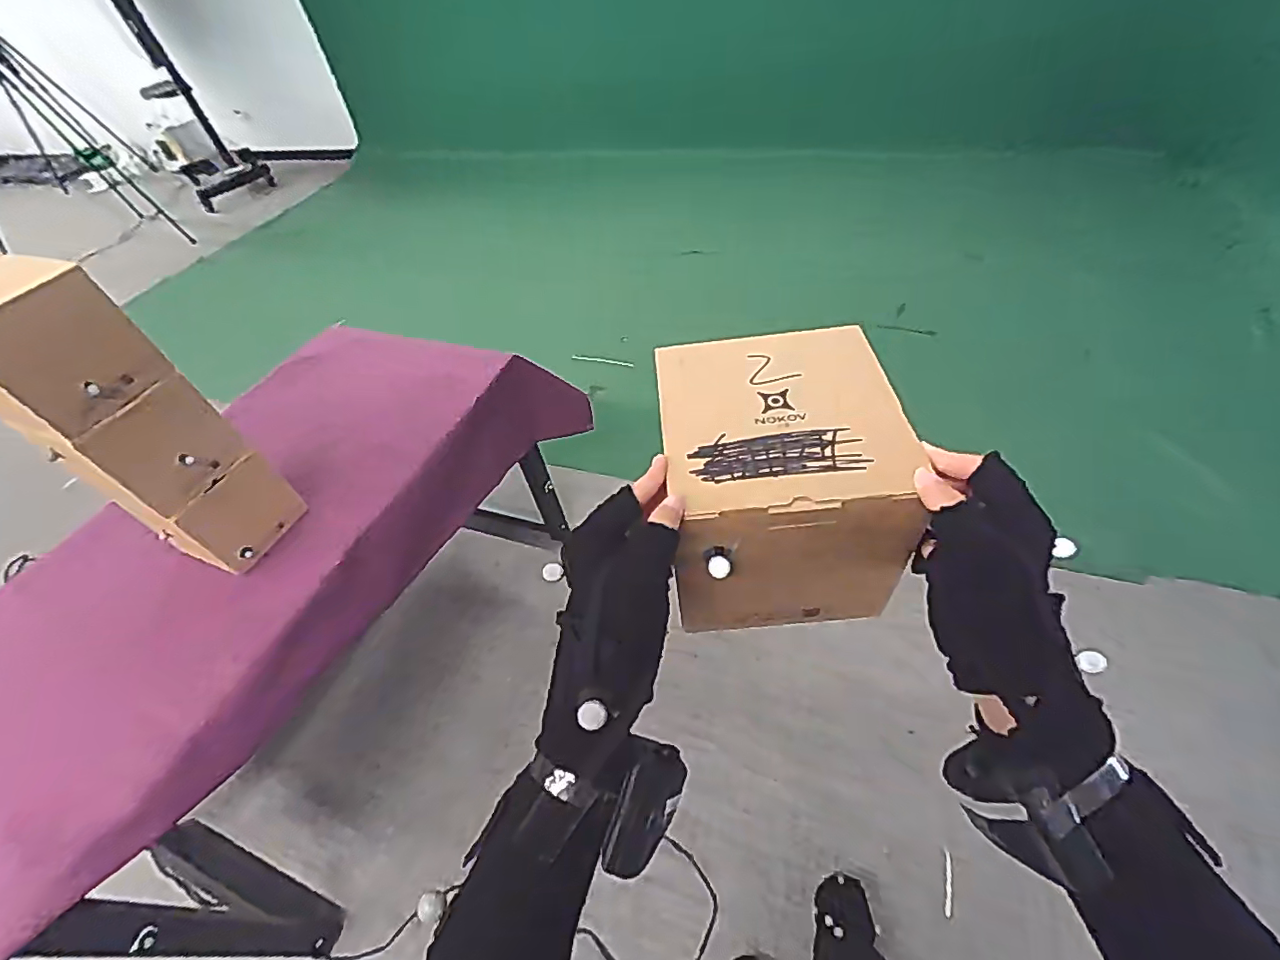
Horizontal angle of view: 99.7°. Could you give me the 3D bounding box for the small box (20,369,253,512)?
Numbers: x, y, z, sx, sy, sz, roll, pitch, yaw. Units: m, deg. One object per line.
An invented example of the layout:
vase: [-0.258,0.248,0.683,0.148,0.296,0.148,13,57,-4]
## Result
small box: [-0.783,-0.072,0.860,0.179,0.176,0.168,14,53,20]

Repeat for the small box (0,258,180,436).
small box: [-0.807,-0.181,0.741,0.179,0.176,0.168,13,53,20]

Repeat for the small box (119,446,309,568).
small box: [-0.755,0.037,0.981,0.179,0.176,0.168,13,52,21]
